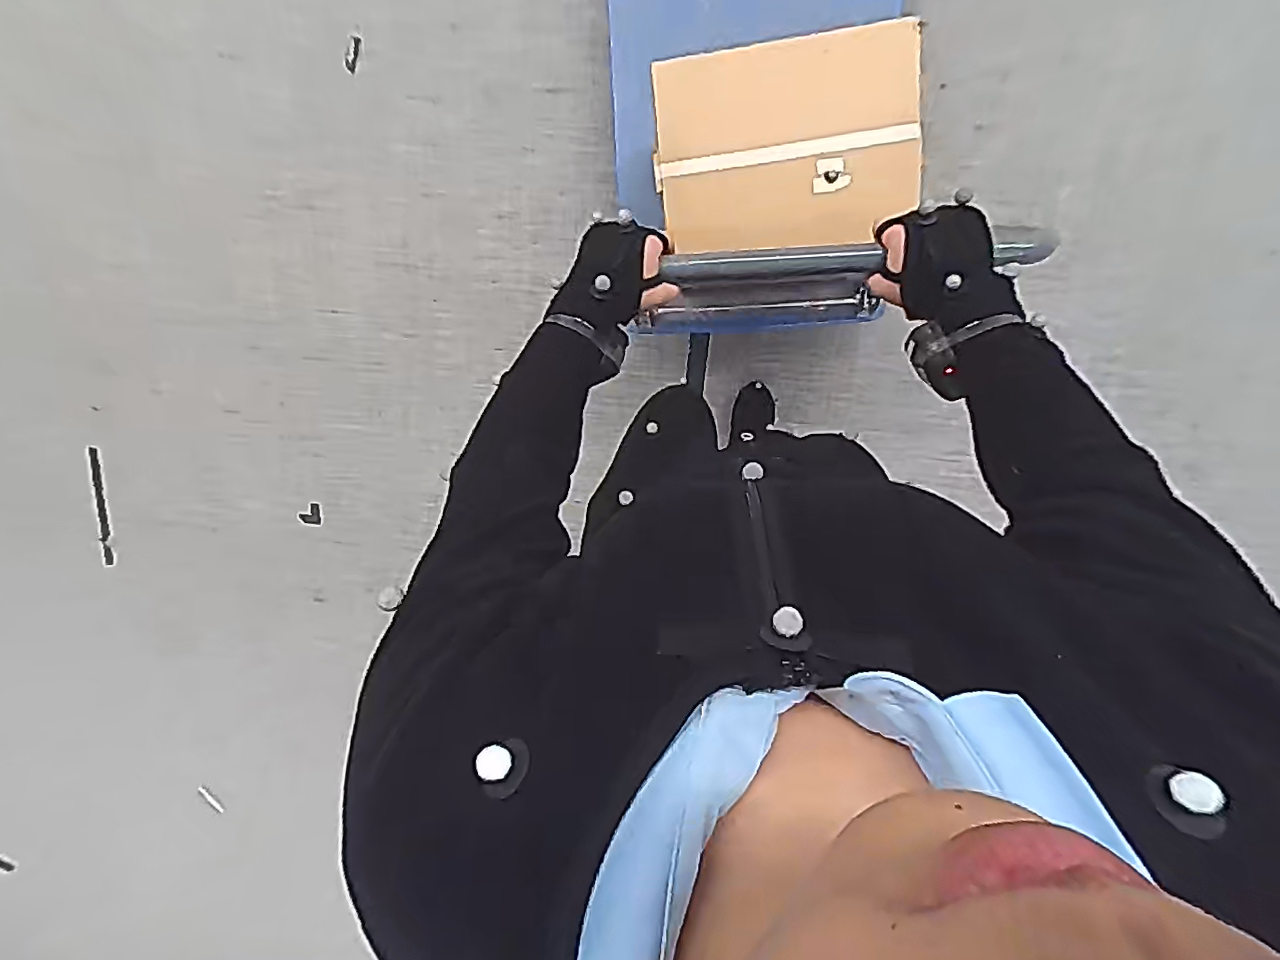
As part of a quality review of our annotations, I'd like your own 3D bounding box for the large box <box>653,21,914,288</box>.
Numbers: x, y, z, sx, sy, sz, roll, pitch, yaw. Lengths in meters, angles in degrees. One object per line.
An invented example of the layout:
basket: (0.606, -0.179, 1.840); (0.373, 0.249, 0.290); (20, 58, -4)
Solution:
large box: (0.246, -0.564, 1.017); (0.408, 0.320, 0.320); (-5, 104, 6)
